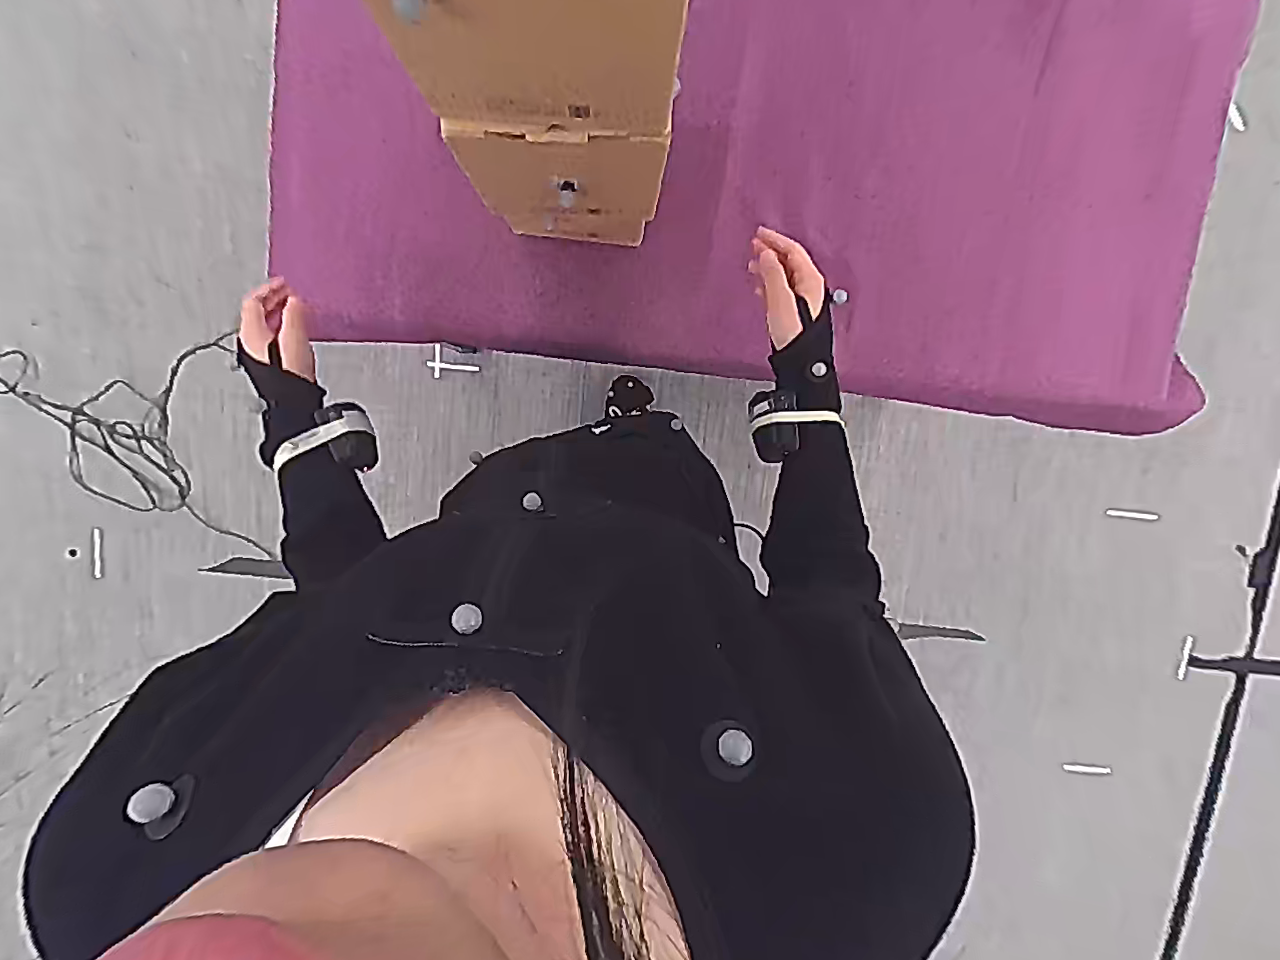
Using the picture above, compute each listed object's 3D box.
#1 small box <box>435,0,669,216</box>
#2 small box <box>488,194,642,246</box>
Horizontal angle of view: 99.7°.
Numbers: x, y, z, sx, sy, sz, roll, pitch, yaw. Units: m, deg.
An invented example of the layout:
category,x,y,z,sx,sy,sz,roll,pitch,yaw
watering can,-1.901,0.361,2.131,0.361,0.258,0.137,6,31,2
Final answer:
category,x,y,z,sx,sy,sz,roll,pitch,yaw
small box,-0.063,-0.339,0.457,0.168,0.176,0.179,0,98,-3
small box,-0.072,-0.384,0.616,0.168,0.176,0.179,5,98,-3
